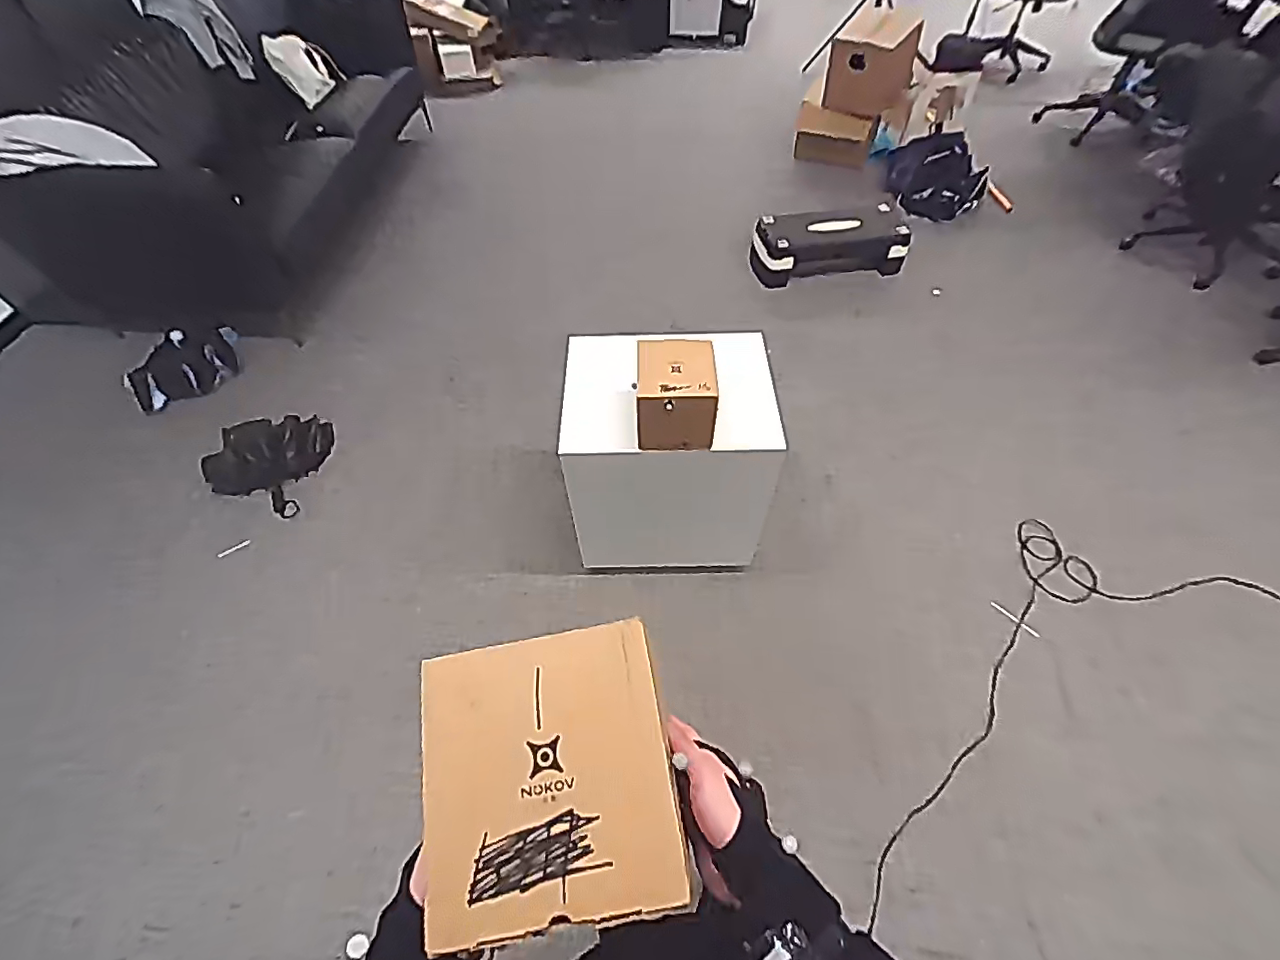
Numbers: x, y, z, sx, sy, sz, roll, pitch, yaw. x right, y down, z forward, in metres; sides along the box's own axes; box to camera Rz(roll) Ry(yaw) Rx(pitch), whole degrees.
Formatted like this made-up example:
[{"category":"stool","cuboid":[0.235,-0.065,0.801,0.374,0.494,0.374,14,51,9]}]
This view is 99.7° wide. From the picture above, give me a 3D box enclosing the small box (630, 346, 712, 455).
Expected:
[{"category":"small box","cuboid":[0.061,-0.173,1.185,0.168,0.176,0.179,-1,52,0]}]
